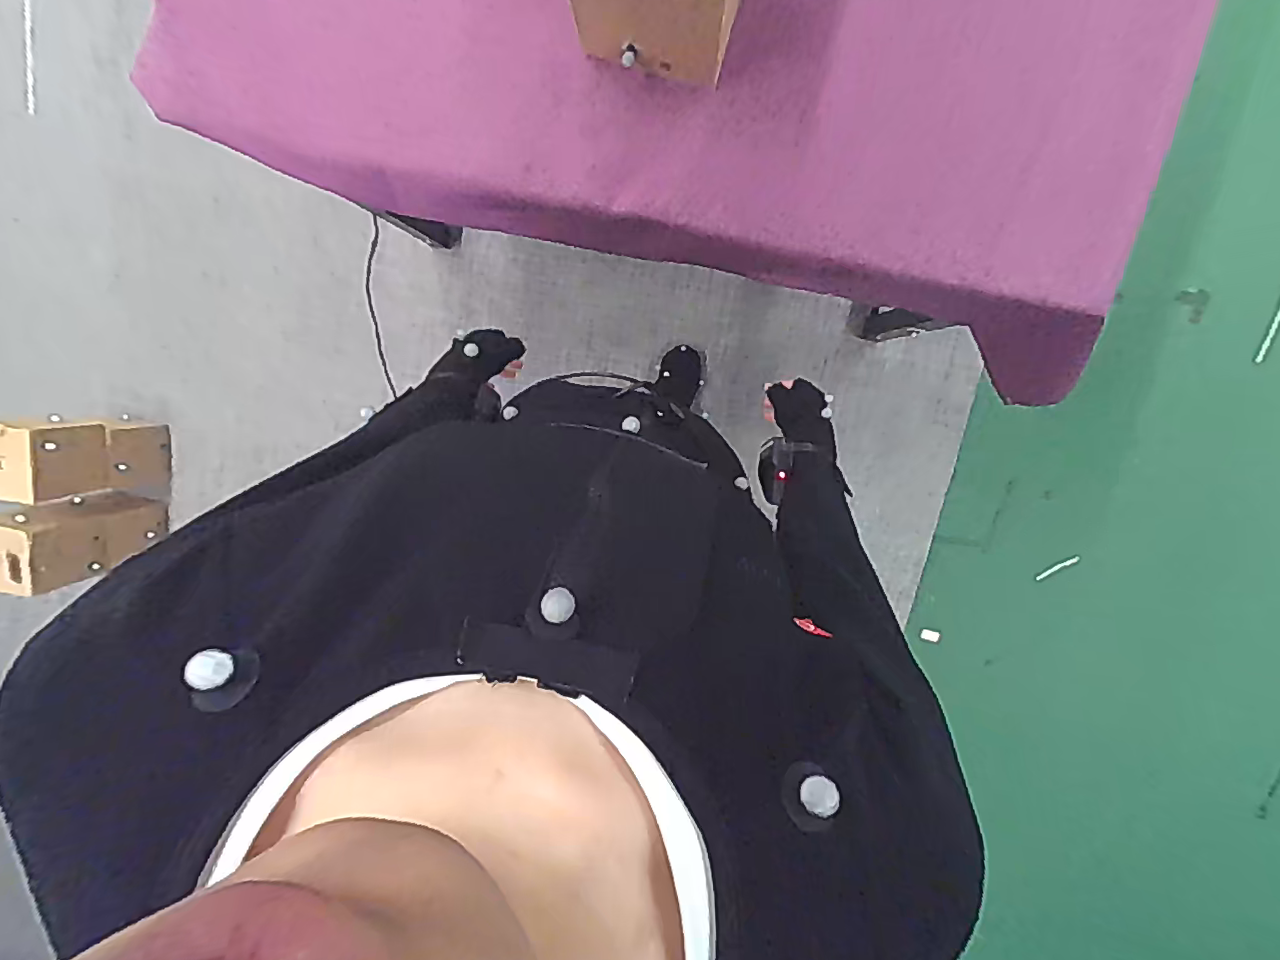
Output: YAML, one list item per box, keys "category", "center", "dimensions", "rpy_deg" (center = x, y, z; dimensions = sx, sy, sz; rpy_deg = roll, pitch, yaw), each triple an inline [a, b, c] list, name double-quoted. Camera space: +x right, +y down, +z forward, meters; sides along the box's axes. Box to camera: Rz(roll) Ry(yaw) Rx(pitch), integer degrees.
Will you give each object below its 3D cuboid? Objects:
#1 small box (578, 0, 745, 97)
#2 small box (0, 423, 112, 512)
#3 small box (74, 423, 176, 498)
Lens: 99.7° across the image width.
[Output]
- category: "small box"
  center: [0.031, -0.544, 0.551]
  dimensions: [0.168, 0.176, 0.179]
  rpy_deg: [16, 101, 1]
- category: "small box"
  center: [-1.425, -0.036, 1.298]
  dimensions: [0.168, 0.176, 0.179]
  rpy_deg: [8, 100, 2]
- category: "small box"
  center: [-1.412, -0.059, 1.459]
  dimensions: [0.179, 0.176, 0.168]
  rpy_deg: [9, 101, 2]
